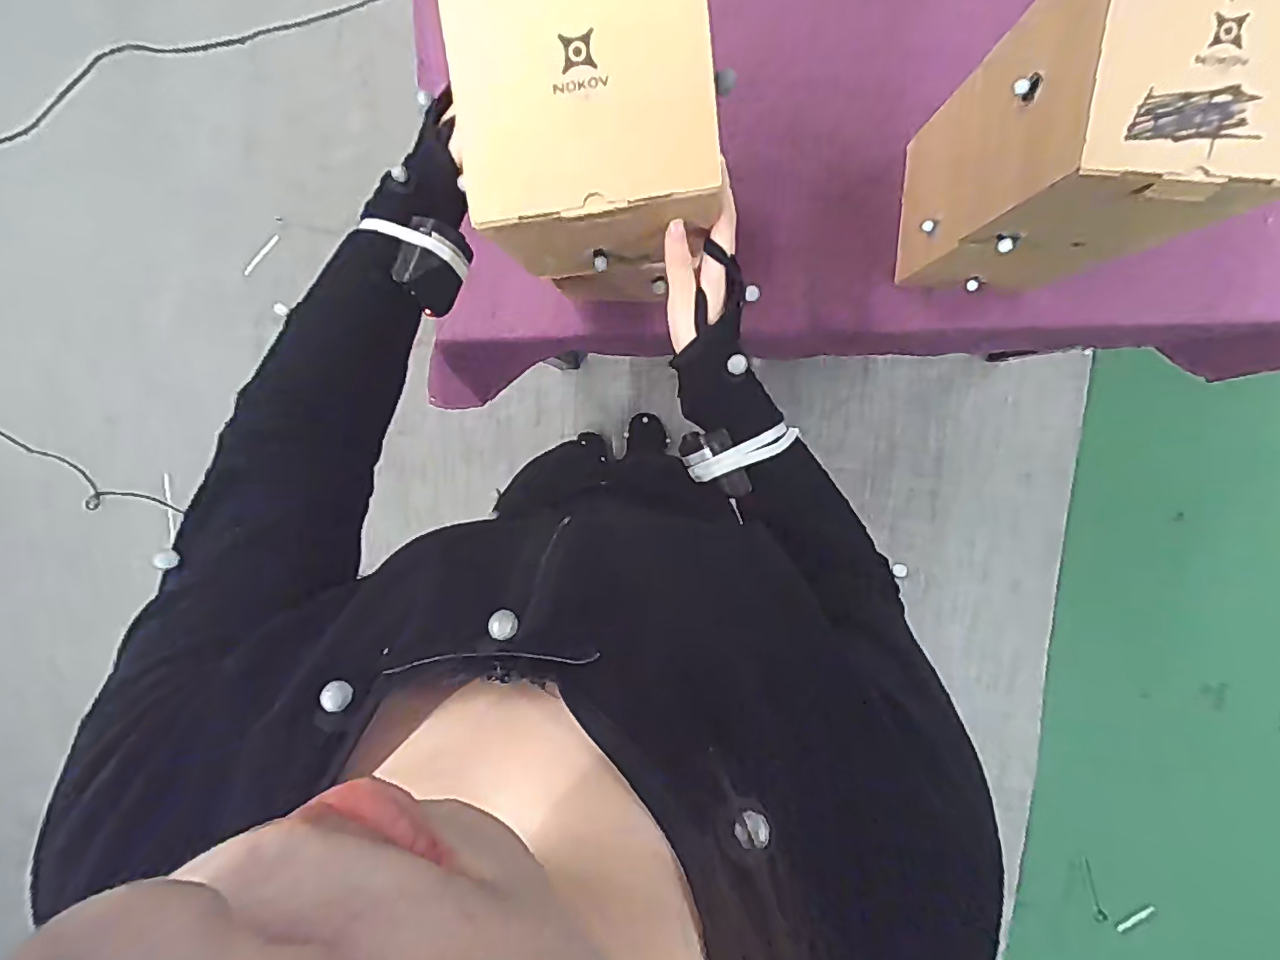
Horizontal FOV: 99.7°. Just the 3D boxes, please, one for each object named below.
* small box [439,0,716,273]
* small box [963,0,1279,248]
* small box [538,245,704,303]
[{"bbox_3d":[-0.034,-0.274,0.415,0.168,0.176,0.179,-5,100,6],"label":"small box"},{"bbox_3d":[0.397,-0.306,0.445,0.168,0.176,0.179,5,97,3],"label":"small box"},{"bbox_3d":[-0.014,-0.312,0.639,0.179,0.176,0.168,2,96,4],"label":"small box"}]
